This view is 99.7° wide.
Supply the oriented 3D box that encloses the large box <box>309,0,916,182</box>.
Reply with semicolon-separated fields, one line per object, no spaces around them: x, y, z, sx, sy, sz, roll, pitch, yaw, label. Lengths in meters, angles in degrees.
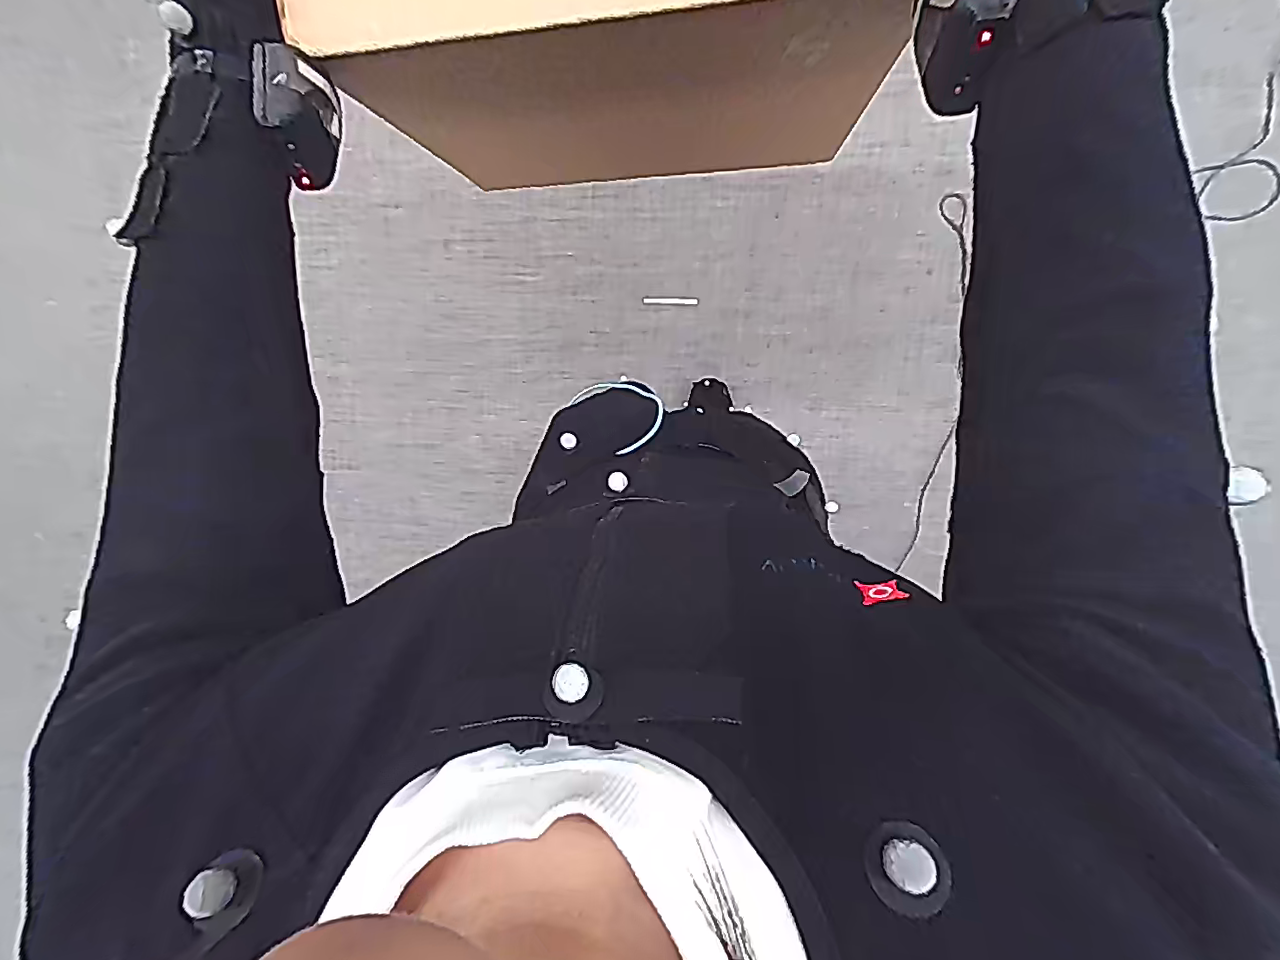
-0.011;-0.474;0.442;0.408;0.320;0.320;-2;104;7;large box
